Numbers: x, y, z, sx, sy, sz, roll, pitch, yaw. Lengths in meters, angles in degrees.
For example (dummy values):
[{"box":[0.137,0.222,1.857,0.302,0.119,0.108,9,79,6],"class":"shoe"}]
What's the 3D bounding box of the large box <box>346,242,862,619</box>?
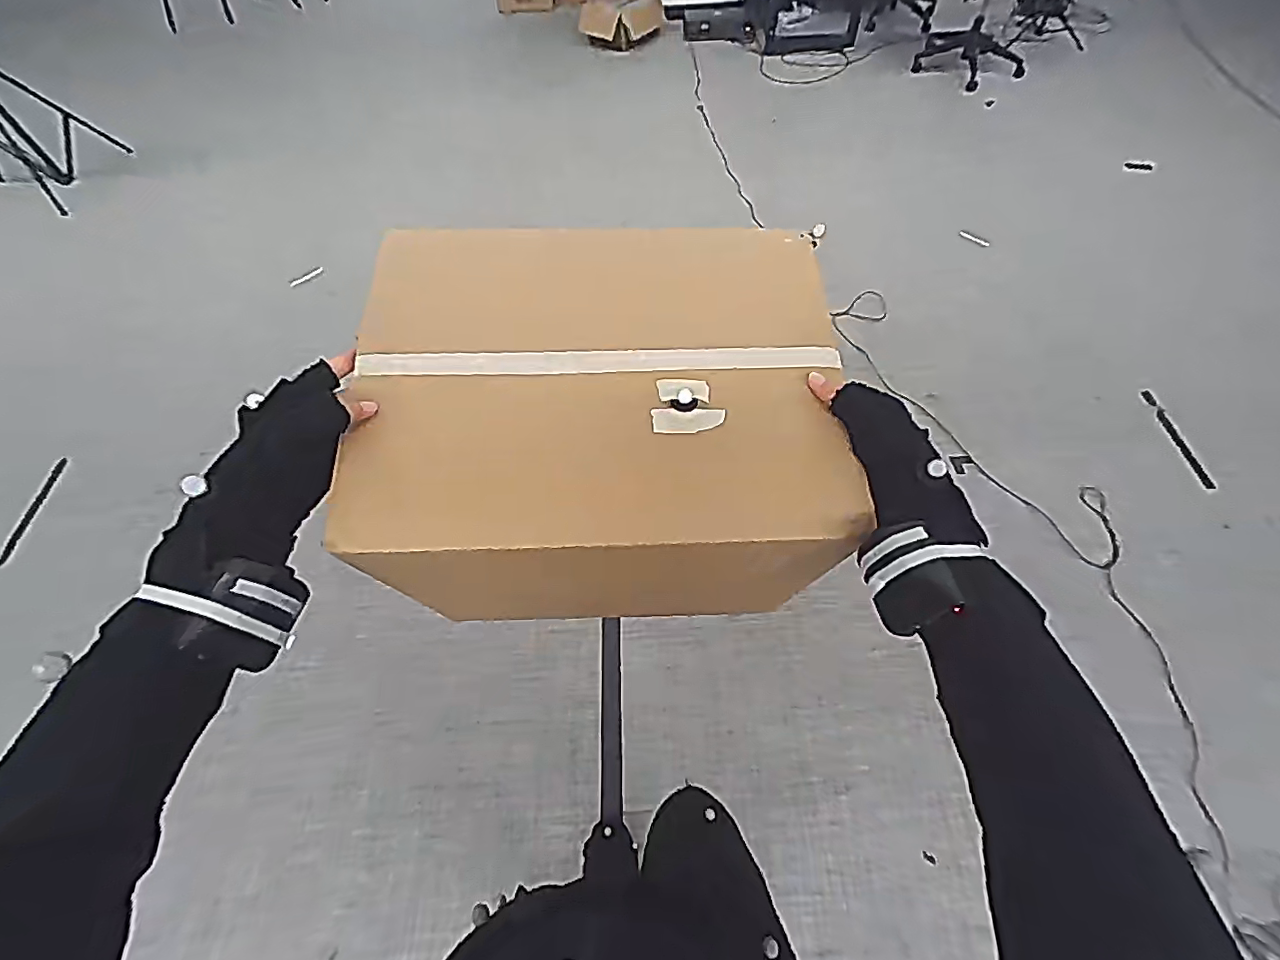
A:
[{"box":[-0.035,-0.033,0.606,0.408,0.320,0.320,-1,66,-2],"class":"large box"}]
